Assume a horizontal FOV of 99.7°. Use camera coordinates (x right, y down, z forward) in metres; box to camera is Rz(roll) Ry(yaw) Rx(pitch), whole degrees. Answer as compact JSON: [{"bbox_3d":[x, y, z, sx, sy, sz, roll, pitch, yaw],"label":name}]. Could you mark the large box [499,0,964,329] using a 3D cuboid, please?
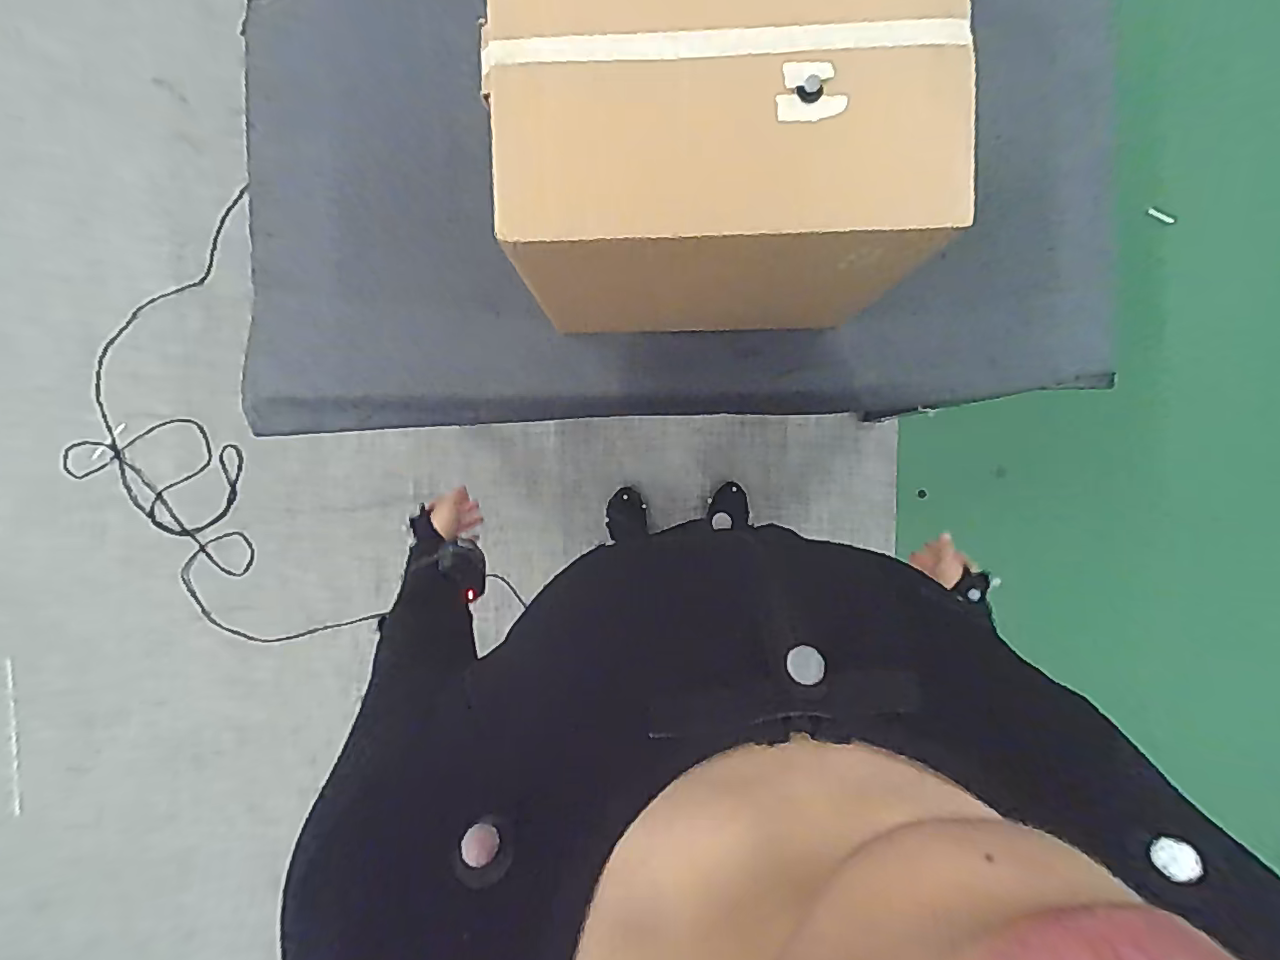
[{"bbox_3d":[0.078,-0.373,0.618,0.408,0.320,0.320,-2,91,1],"label":"large box"}]
